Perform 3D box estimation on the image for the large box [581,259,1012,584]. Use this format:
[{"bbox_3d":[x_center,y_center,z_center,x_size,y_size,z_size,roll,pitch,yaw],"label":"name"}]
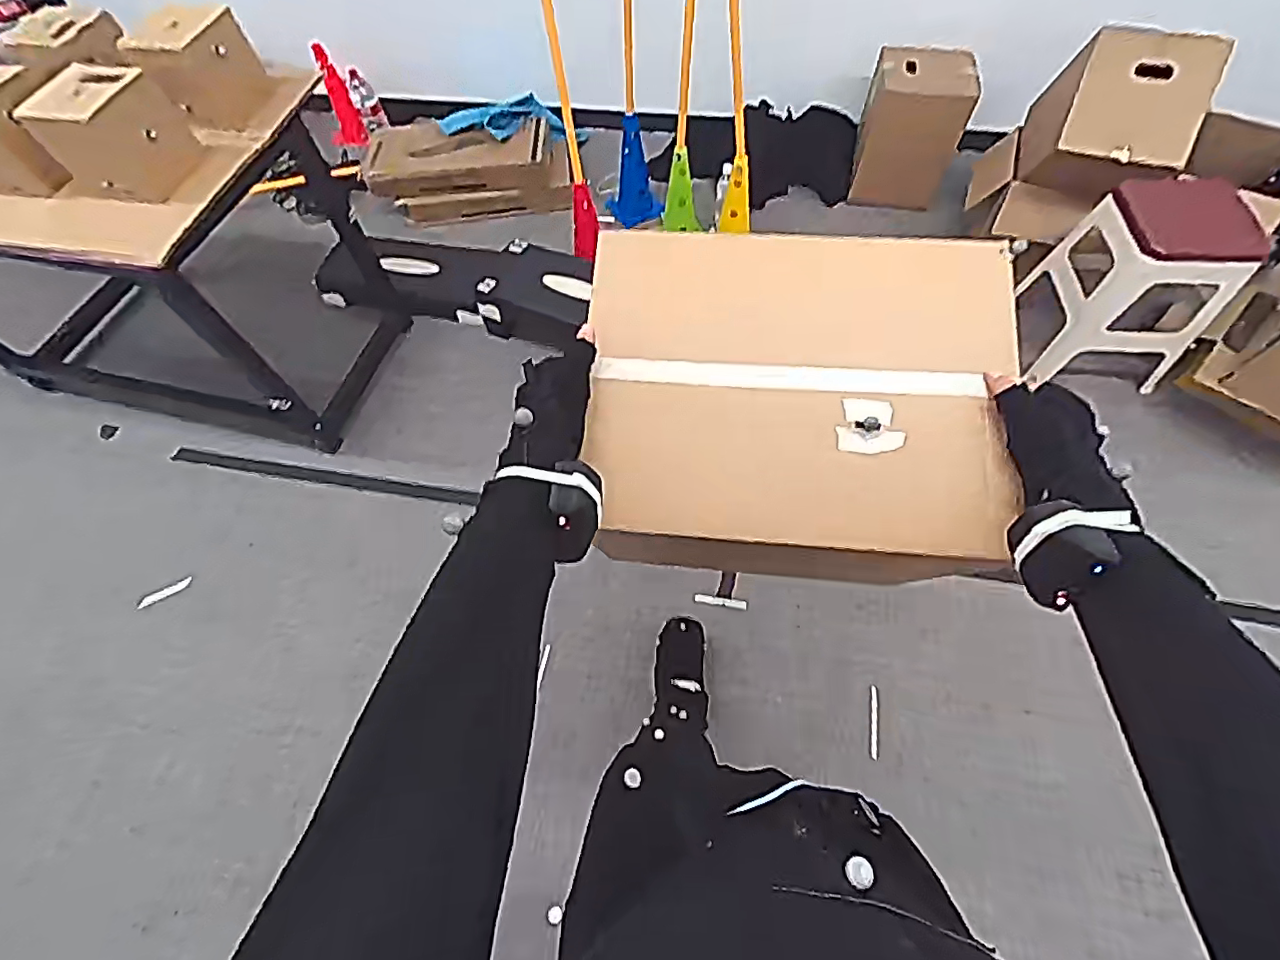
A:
[{"bbox_3d":[0.157,-0.046,0.681,0.408,0.320,0.320,4,77,4],"label":"large box"}]
